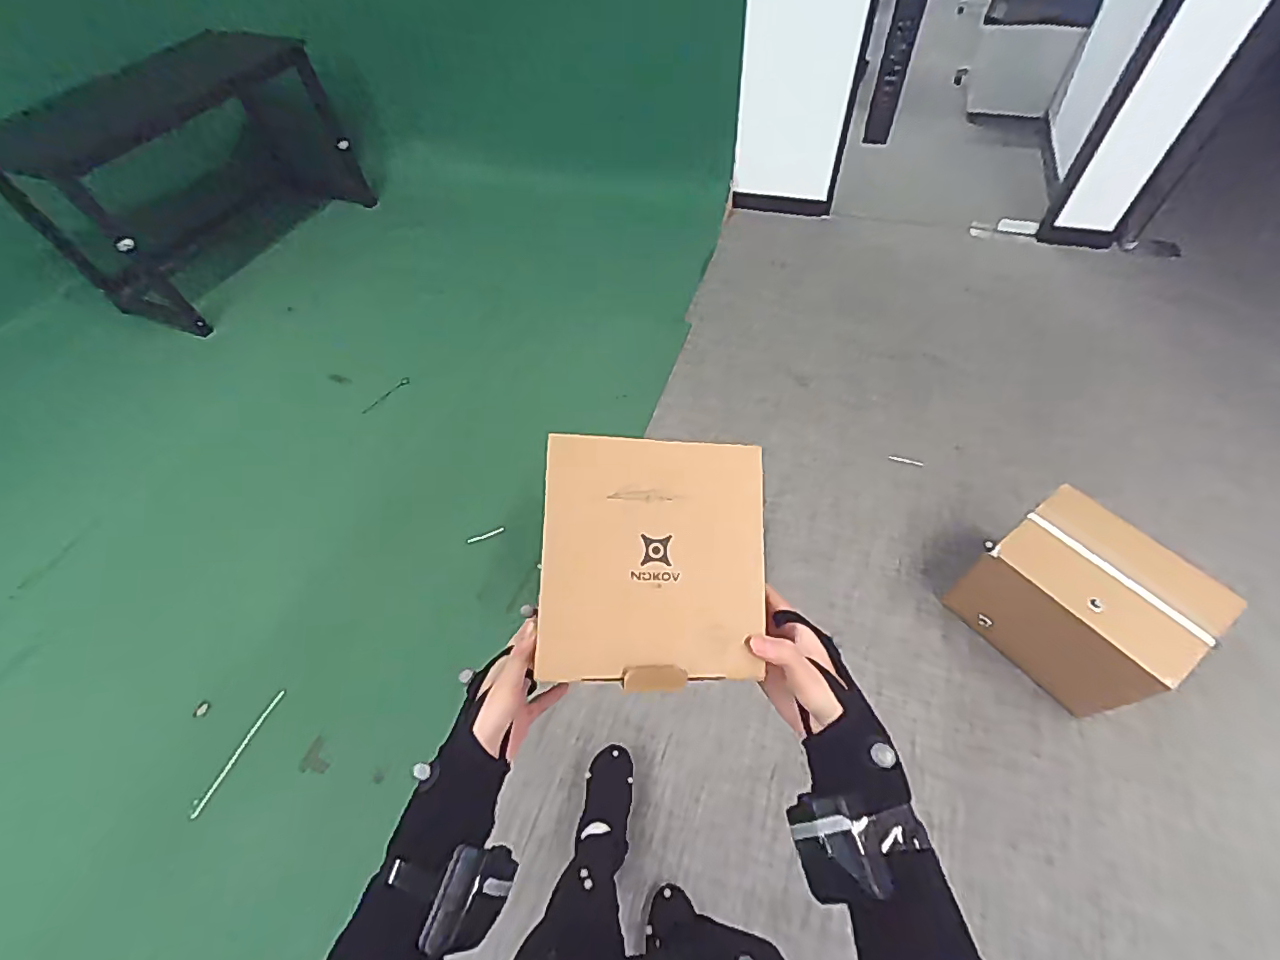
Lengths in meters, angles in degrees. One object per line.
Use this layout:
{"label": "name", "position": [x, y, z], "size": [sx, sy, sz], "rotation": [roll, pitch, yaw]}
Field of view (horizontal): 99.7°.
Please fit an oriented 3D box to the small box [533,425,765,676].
{"label": "small box", "position": [0.000, 0.065, 0.469], "size": [0.168, 0.176, 0.179], "rotation": [4, 78, -9]}
